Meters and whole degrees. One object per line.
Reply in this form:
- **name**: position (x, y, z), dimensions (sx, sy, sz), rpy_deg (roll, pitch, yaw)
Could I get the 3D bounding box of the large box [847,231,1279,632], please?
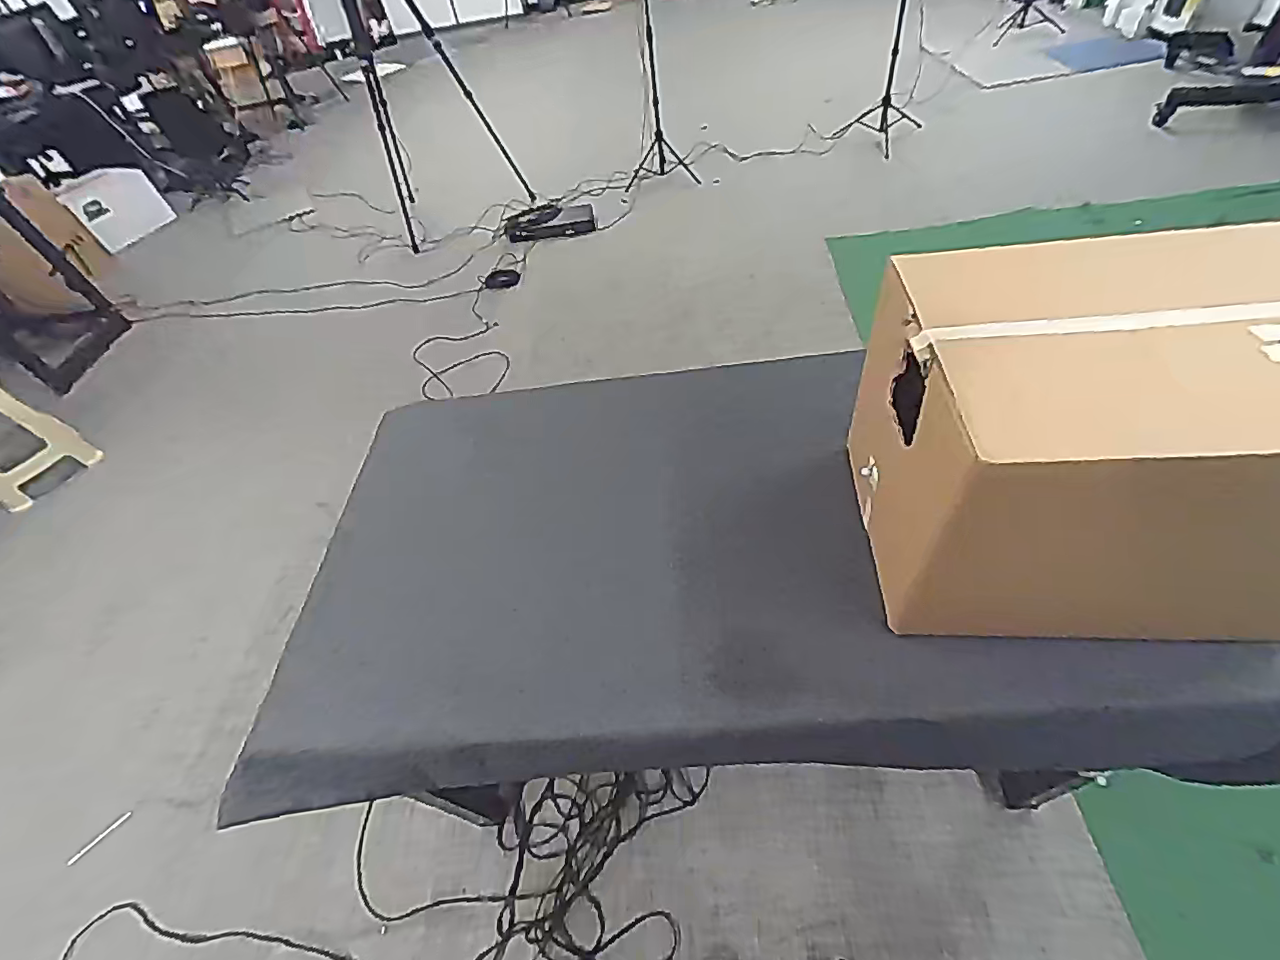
- **large box**: position (0.484, -0.039, 0.595), dimensions (0.408, 0.320, 0.320), rpy_deg (-1, 50, 8)
